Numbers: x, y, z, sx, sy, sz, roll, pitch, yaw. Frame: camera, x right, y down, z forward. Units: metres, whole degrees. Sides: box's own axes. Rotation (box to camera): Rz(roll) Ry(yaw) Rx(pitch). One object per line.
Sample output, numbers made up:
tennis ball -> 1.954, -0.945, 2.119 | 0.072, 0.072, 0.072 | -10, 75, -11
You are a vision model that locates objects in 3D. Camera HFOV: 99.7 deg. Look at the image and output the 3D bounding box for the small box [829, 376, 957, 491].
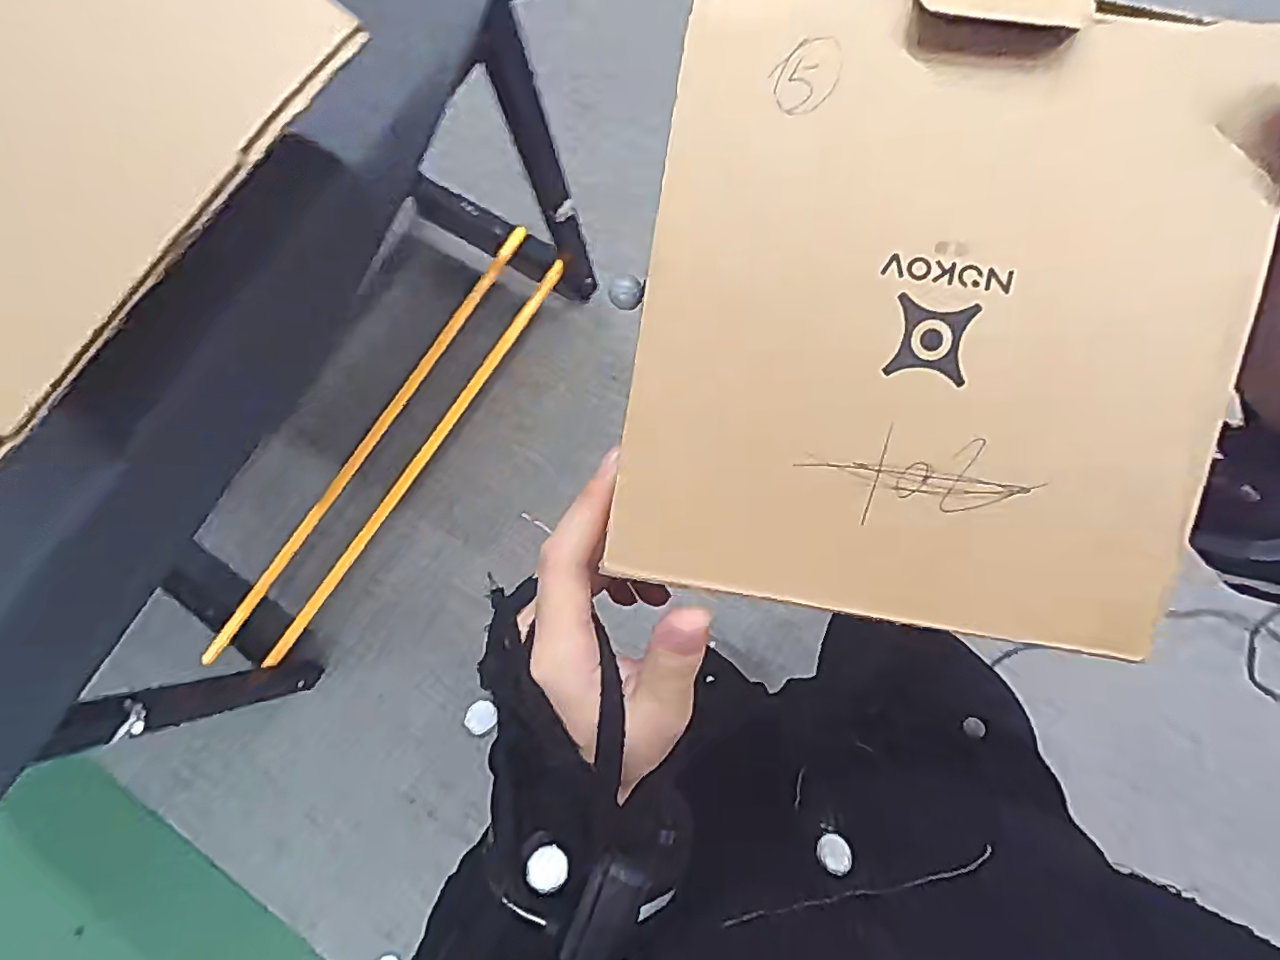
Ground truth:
small box -> 0.529, -0.091, 1.160 | 0.179, 0.176, 0.168 | 26, 82, 10
